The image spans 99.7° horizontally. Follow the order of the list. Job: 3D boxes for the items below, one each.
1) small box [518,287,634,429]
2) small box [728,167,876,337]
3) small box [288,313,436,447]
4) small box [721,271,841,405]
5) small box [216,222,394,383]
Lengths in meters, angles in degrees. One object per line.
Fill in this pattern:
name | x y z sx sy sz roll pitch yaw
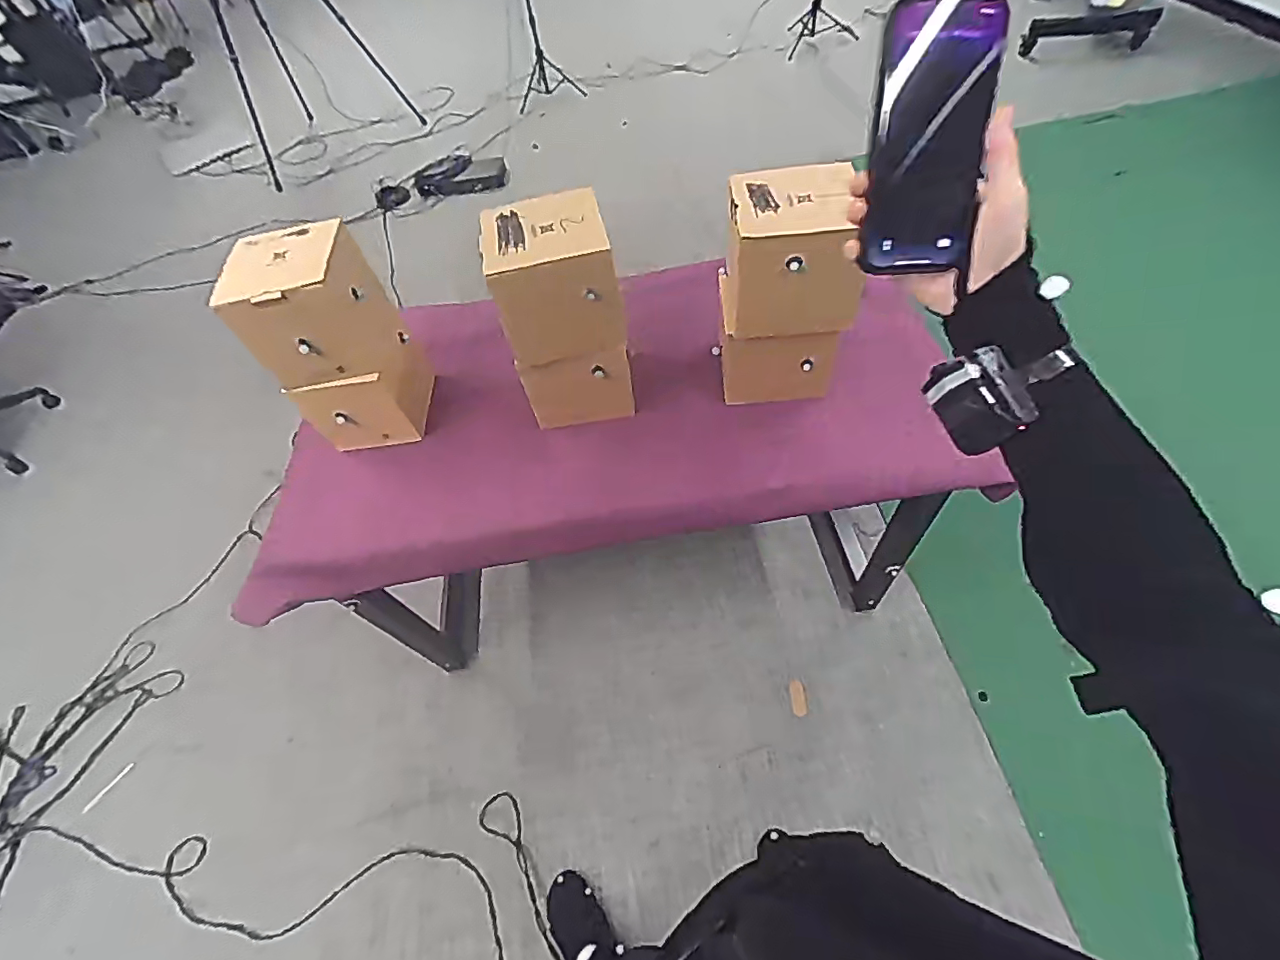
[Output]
small box | -0.106 -0.212 0.961 0.179 0.176 0.168 -8 55 3
small box | 0.223 -0.327 0.796 0.179 0.176 0.168 -3 55 5
small box | -0.494 -0.174 0.992 0.168 0.176 0.179 -7 55 3
small box | 0.232 -0.247 0.939 0.179 0.176 0.168 -3 55 7
small box | -0.514 -0.273 0.862 0.168 0.176 0.179 -11 56 -1
